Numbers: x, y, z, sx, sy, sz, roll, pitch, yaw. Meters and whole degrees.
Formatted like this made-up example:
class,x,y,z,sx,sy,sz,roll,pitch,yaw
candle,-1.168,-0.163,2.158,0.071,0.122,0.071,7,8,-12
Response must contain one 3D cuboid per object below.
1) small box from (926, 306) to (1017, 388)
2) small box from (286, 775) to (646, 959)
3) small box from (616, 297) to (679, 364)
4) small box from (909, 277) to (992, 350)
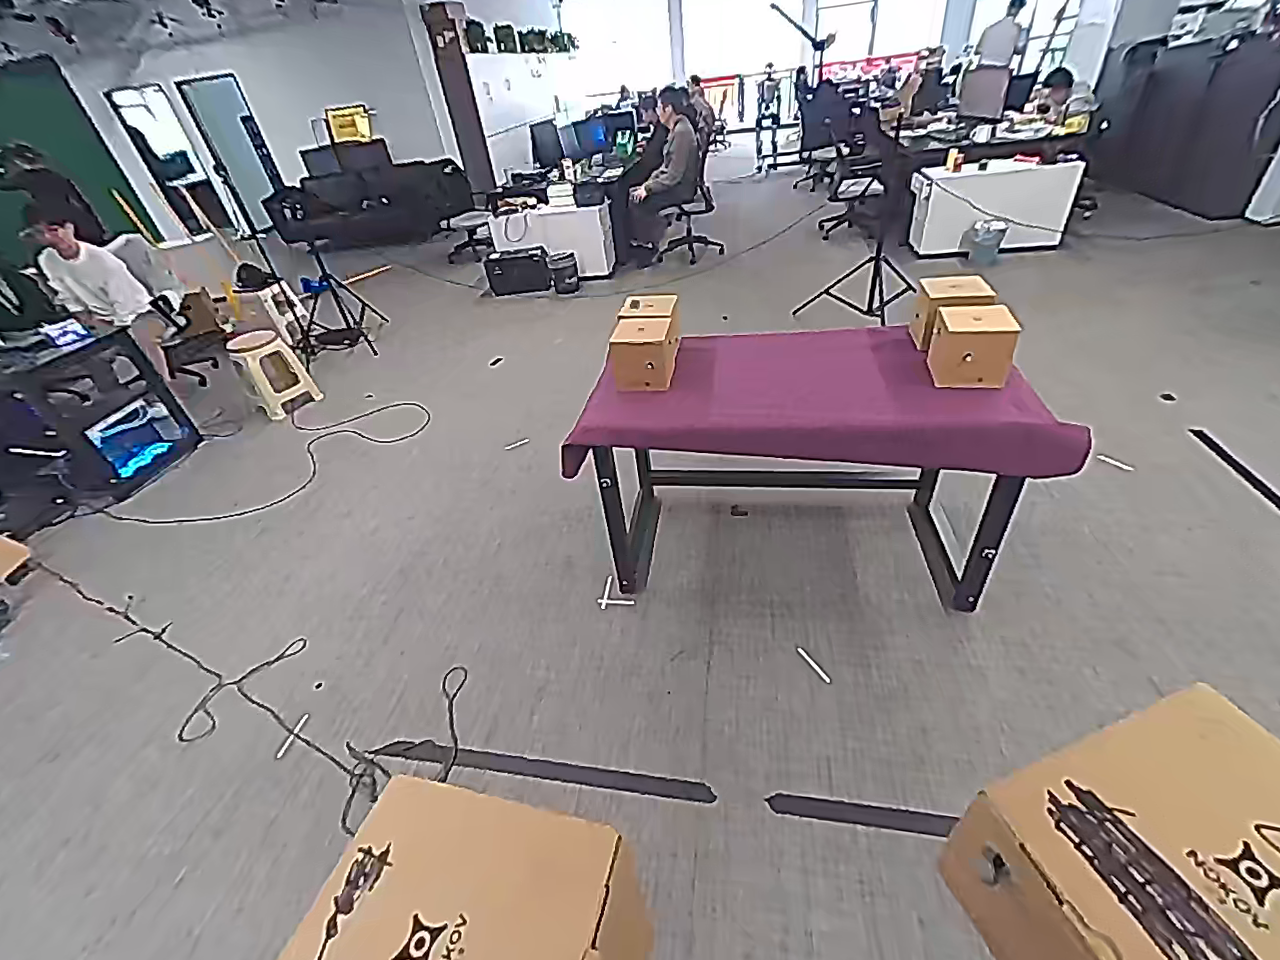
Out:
class,x,y,z,sx,sy,sz,roll,pitch,yaw
small box,0.901,-0.363,1.486,0.168,0.176,0.179,3,38,16
small box,-0.102,0.328,0.344,0.179,0.176,0.168,4,35,16
small box,0.031,-0.504,1.824,0.179,0.176,0.168,3,41,12
small box,0.937,-0.506,1.654,0.179,0.176,0.168,2,39,12
